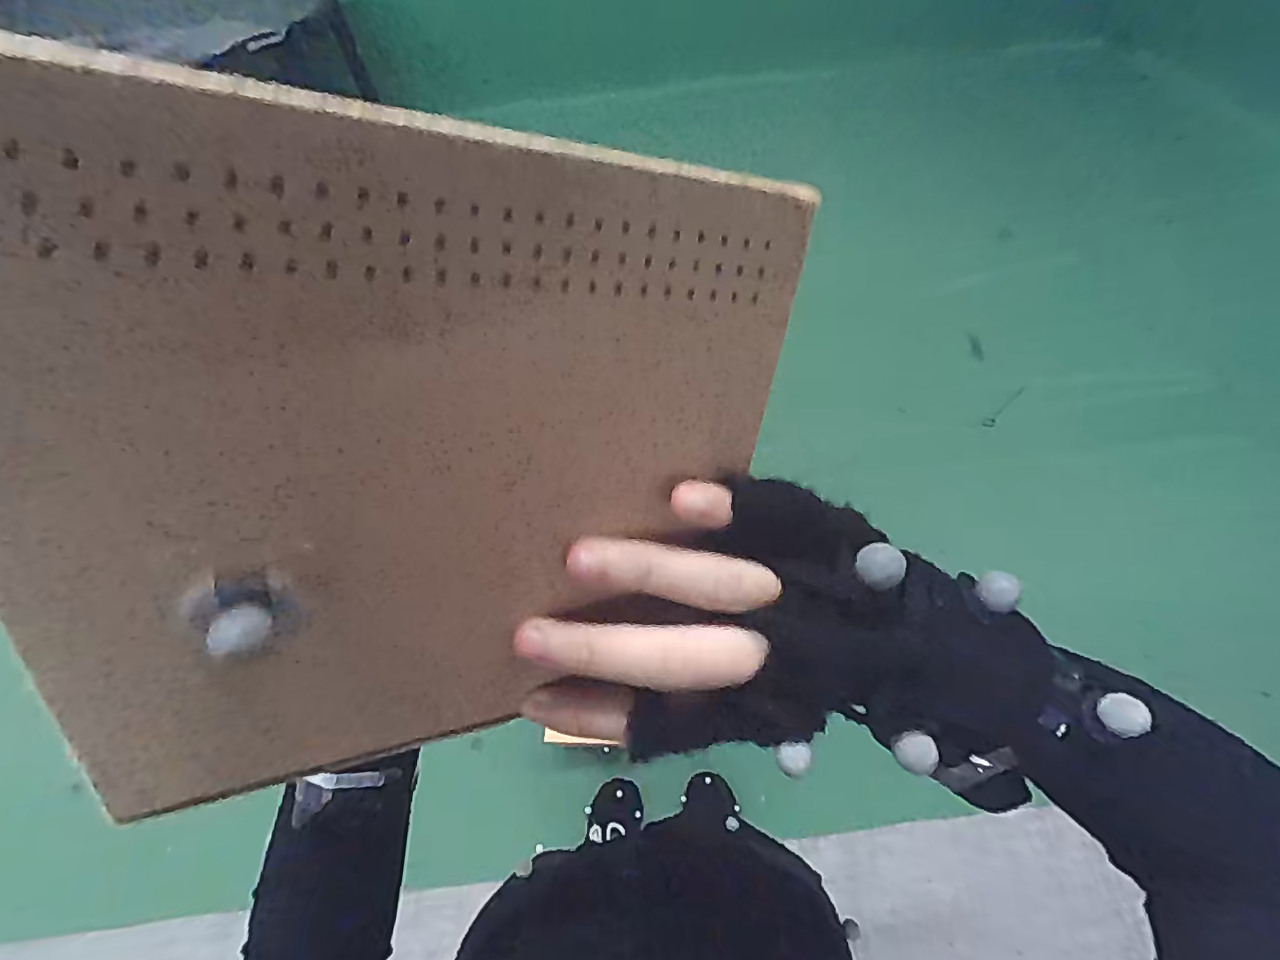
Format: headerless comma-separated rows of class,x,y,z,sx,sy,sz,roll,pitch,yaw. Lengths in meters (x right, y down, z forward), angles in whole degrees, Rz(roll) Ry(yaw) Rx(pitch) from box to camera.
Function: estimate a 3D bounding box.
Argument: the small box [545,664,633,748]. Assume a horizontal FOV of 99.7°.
small box,-0.112,0.534,1.268,0.179,0.176,0.168,-1,61,3
